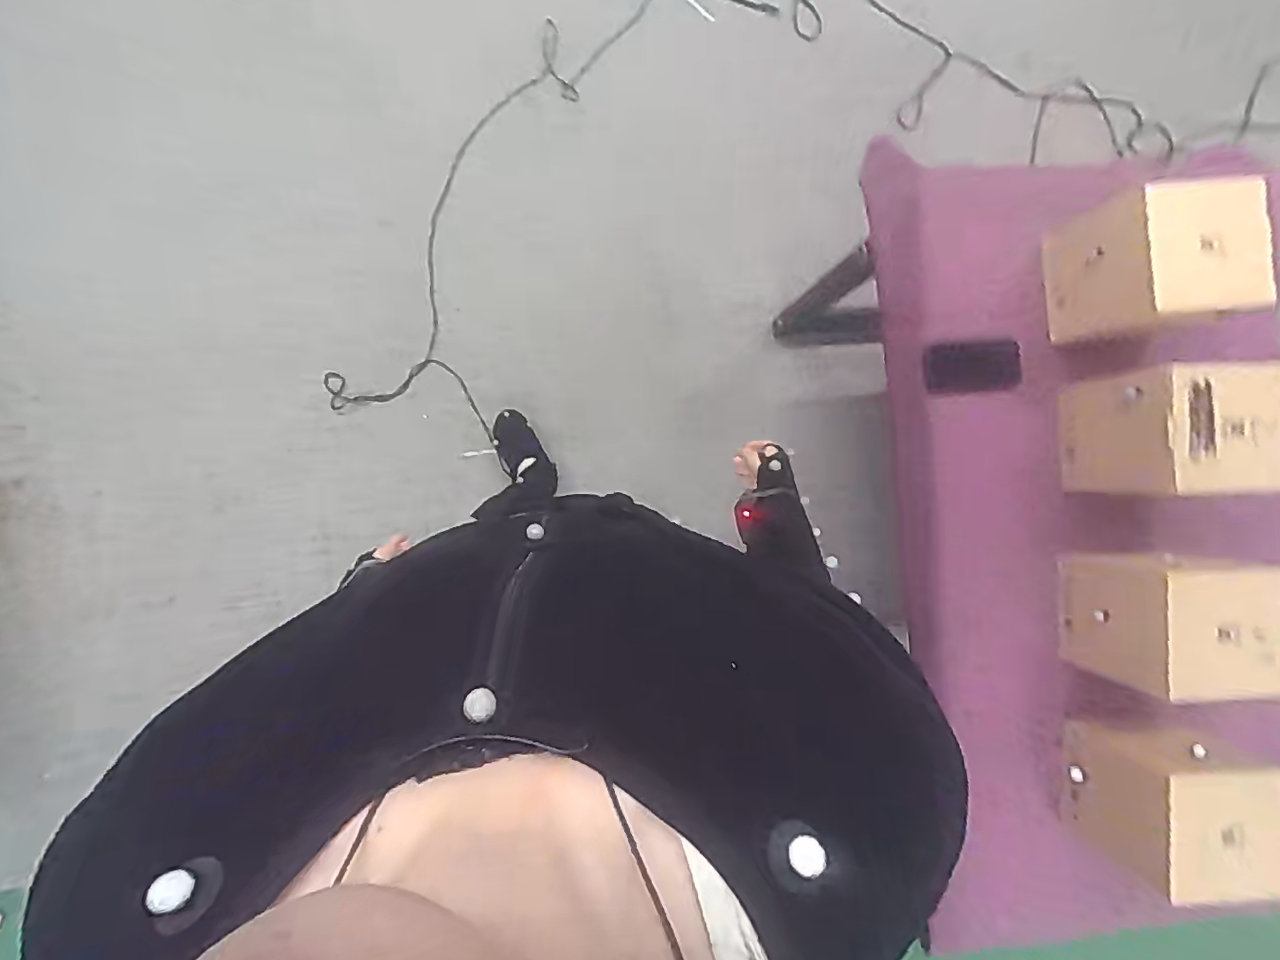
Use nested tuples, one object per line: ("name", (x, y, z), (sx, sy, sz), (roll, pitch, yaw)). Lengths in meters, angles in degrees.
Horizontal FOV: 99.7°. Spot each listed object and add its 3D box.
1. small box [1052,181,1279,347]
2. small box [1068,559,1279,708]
("small box", (0.727, -0.294, 0.768), (0.179, 0.176, 0.168), (-6, 90, -6))
("small box", (0.749, 0.206, 0.764), (0.179, 0.176, 0.168), (0, 90, -5))
